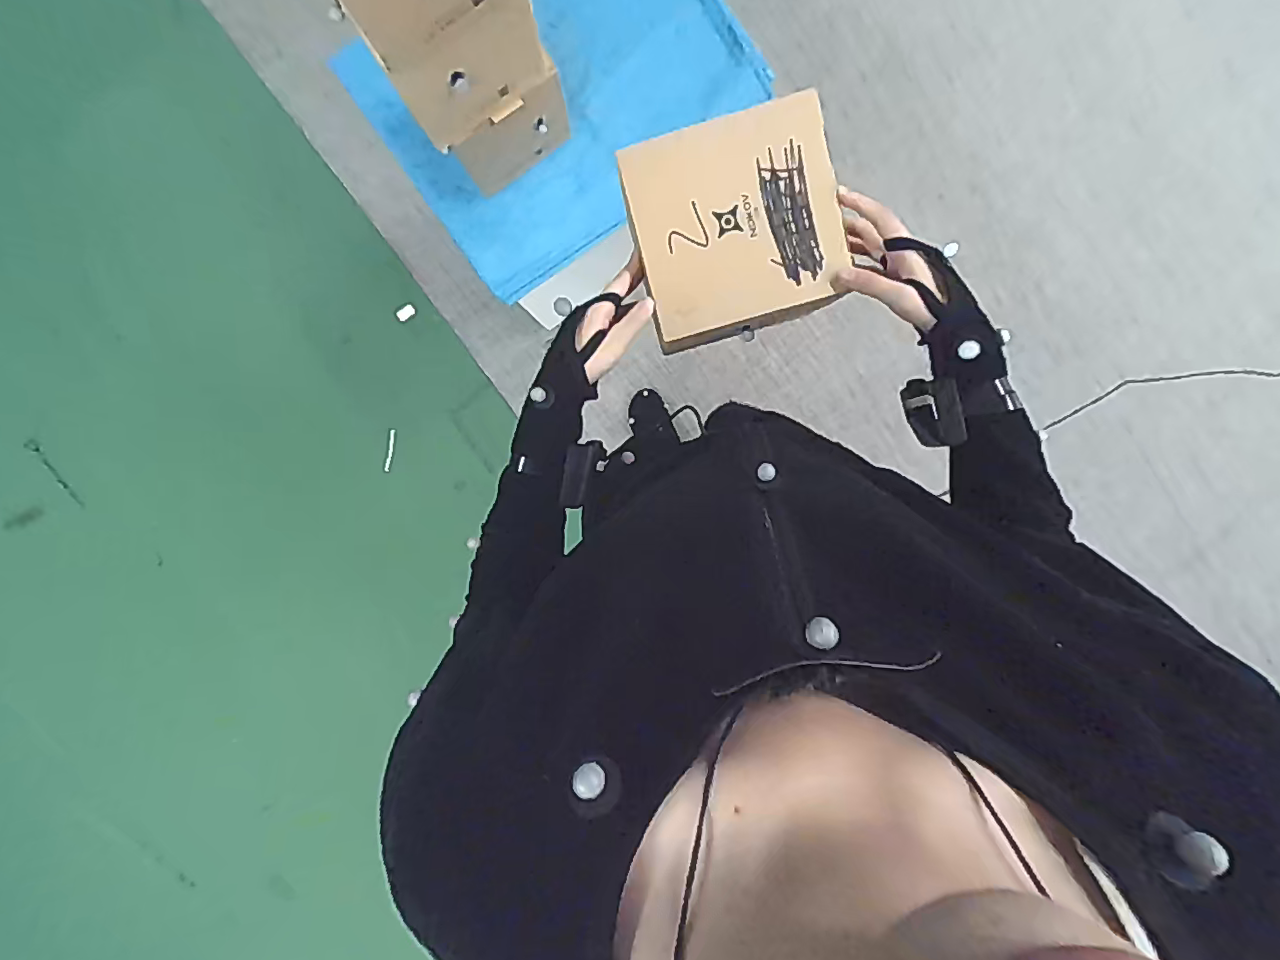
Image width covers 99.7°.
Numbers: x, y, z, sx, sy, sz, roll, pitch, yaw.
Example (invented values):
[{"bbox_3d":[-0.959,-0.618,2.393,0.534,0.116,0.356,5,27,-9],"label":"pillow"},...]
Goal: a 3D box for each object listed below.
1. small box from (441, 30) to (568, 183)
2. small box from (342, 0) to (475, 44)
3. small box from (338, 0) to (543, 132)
[{"bbox_3d":[-0.215,-0.541,0.736,0.168,0.176,0.179,-34,95,2],"label":"small box"},{"bbox_3d":[-0.211,-0.491,0.414,0.168,0.176,0.179,-33,96,3],"label":"small box"},{"bbox_3d":[-0.223,-0.516,0.576,0.168,0.176,0.179,-33,95,2],"label":"small box"}]
